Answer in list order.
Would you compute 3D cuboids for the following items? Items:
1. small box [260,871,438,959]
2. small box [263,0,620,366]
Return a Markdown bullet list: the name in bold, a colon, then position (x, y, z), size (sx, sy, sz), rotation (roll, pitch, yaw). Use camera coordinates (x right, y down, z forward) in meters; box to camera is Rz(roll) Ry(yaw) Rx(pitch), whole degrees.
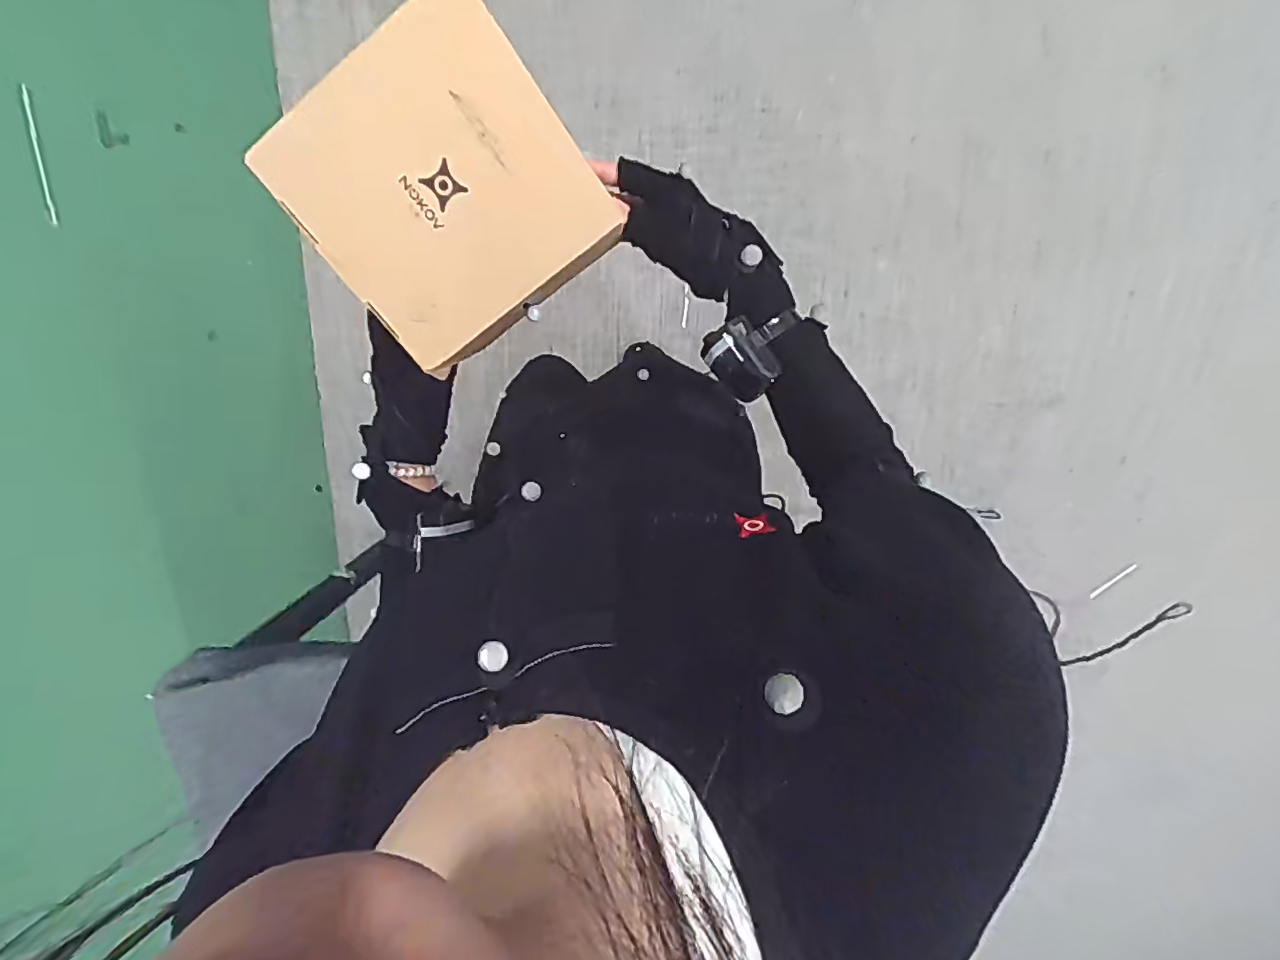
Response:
- **small box**: position (-0.377, 0.641, 0.691), size (0.168, 0.176, 0.179), rotation (0, 106, 4)
- **small box**: position (-0.128, -0.214, 0.427), size (0.179, 0.176, 0.168), rotation (-33, 108, 9)
